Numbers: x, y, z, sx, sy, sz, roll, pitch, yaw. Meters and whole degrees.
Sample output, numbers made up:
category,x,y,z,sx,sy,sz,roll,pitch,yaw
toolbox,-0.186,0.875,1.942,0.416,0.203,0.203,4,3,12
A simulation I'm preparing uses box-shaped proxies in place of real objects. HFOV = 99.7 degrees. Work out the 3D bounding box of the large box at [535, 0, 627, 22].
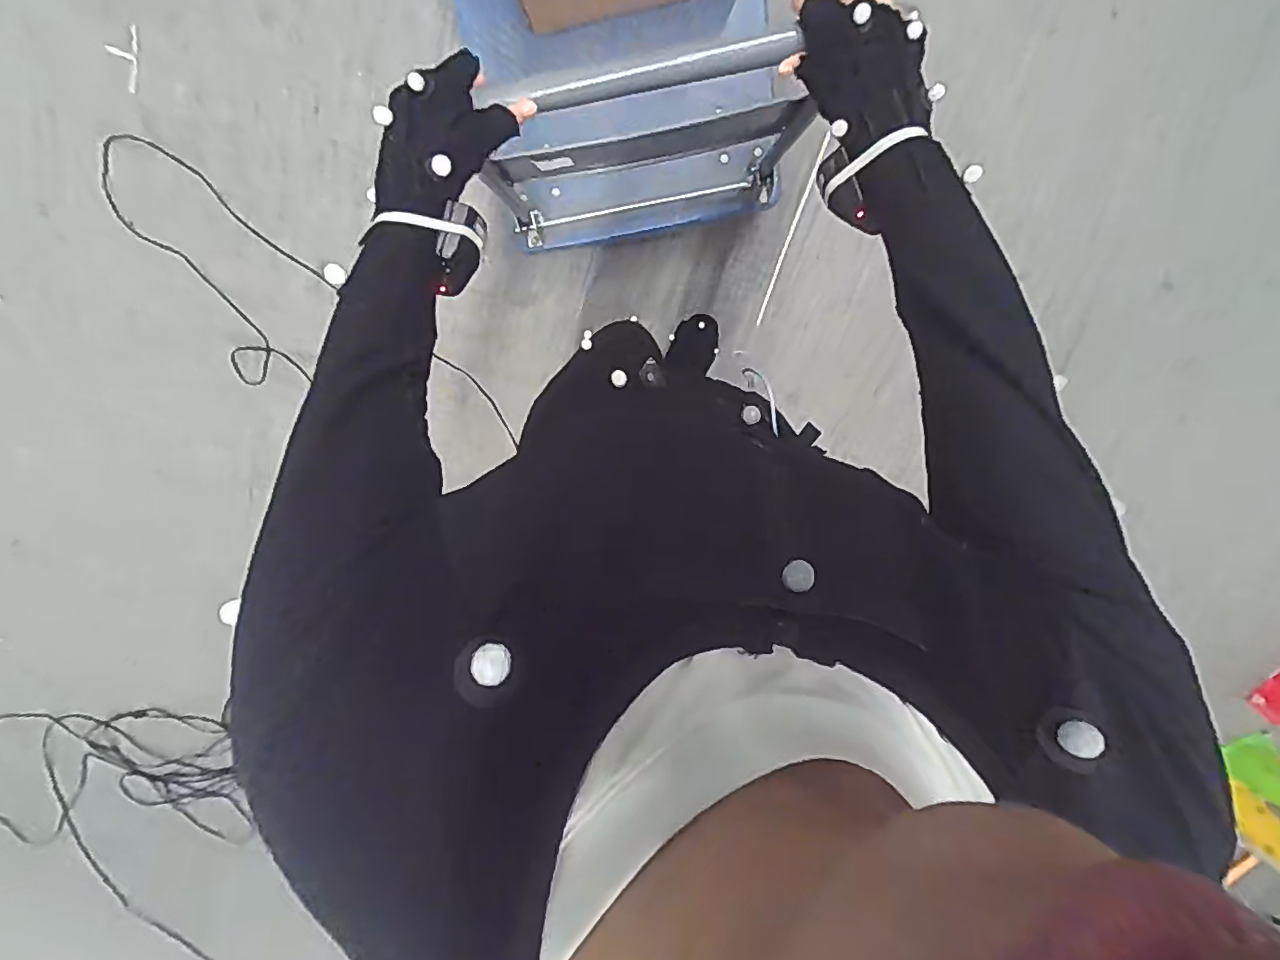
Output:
category,x,y,z,sx,sy,sz,roll,pitch,yaw
large box,-0.024,-0.997,0.827,0.408,0.320,0.320,-11,108,4
